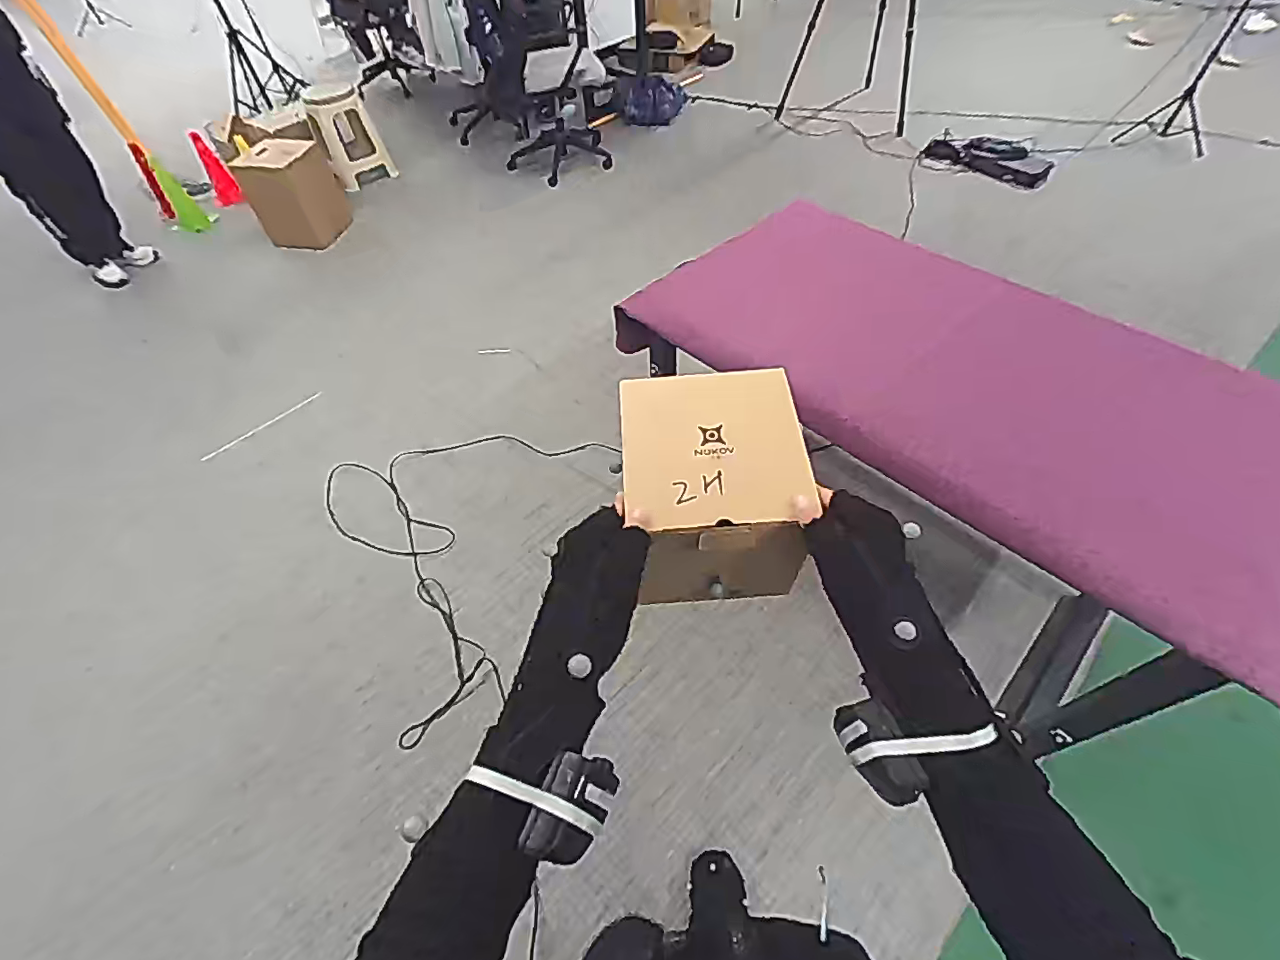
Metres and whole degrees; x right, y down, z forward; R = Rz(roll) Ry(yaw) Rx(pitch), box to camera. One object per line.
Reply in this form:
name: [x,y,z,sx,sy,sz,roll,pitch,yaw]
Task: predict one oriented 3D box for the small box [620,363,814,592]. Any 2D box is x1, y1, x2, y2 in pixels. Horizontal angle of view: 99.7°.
small box: [0.066,0.003,0.564,0.168,0.176,0.179,-4,58,2]
